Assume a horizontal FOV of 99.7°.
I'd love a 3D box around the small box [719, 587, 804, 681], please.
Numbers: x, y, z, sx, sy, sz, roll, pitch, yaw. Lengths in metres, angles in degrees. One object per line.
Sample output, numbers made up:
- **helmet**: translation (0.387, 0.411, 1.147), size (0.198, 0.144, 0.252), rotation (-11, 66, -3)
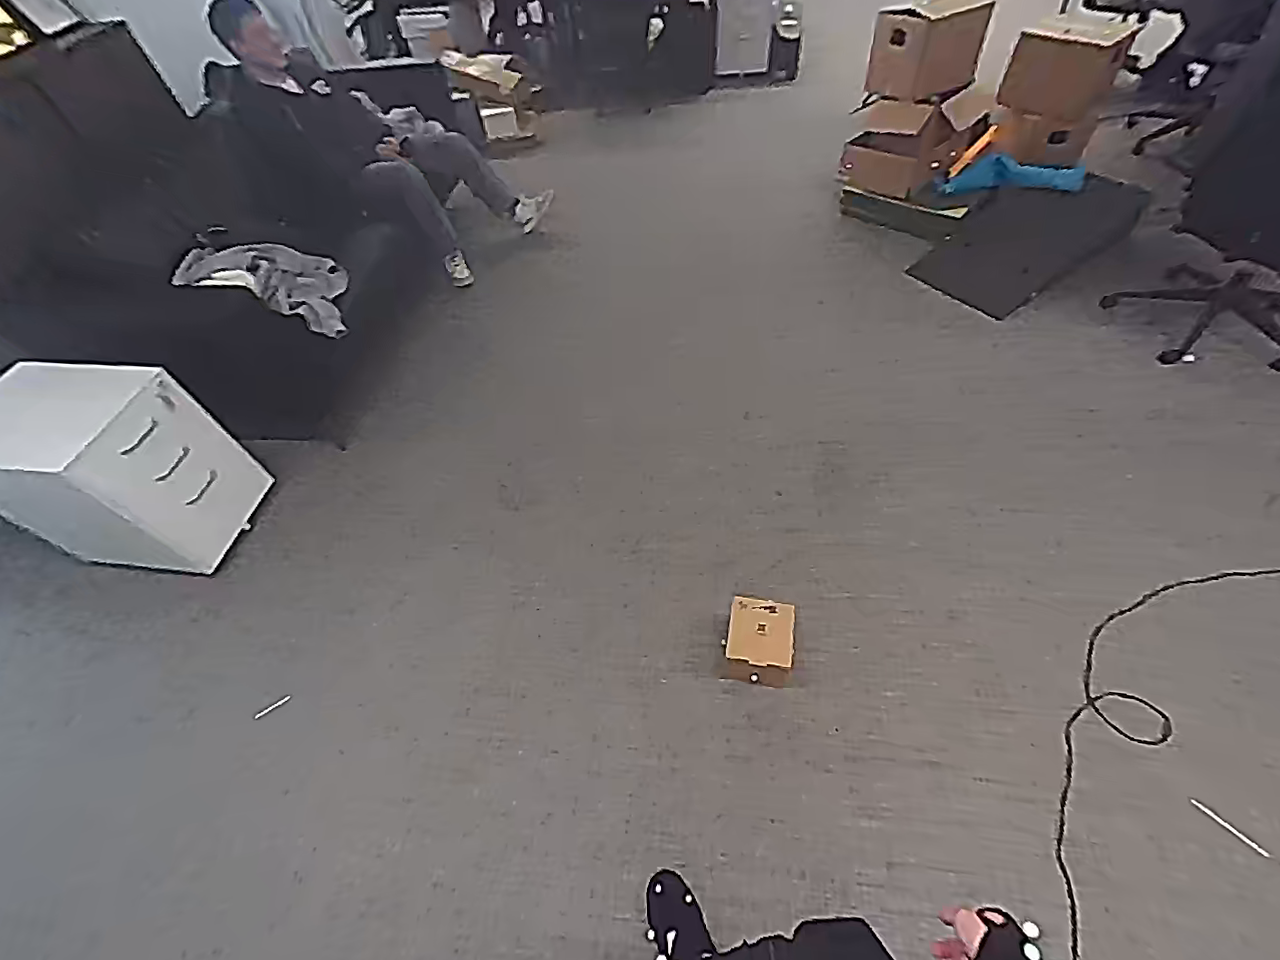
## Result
- **small box**: translation (0.329, 0.427, 1.486), size (0.179, 0.176, 0.168), rotation (-18, 51, -5)
